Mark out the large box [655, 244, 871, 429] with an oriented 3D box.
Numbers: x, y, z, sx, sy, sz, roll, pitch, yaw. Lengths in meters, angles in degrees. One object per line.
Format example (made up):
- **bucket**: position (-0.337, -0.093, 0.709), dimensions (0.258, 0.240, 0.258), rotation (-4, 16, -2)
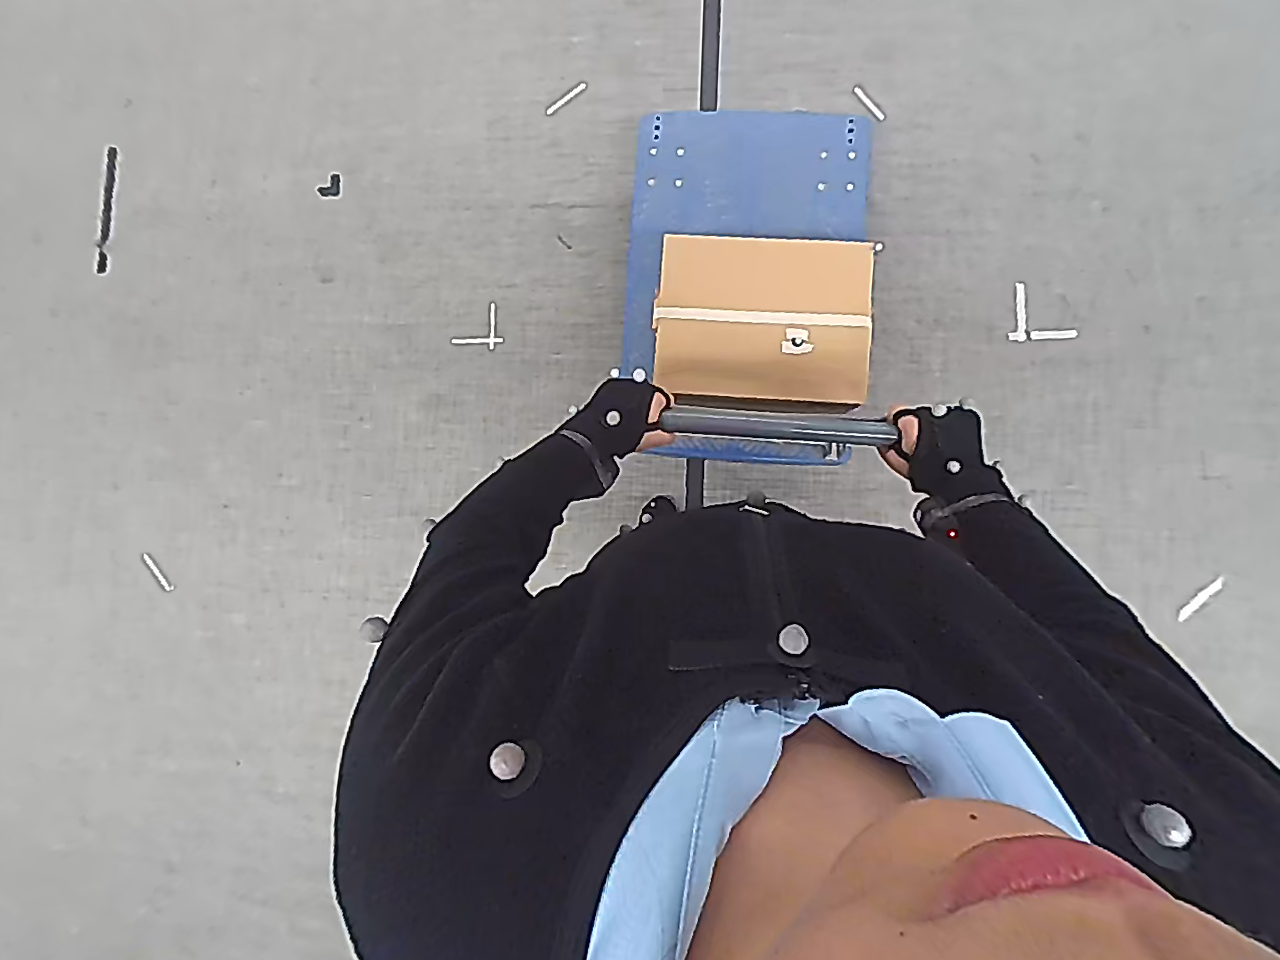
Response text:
- **large box**: position (0.242, -0.292, 1.187), dimensions (0.408, 0.320, 0.320), rotation (4, 89, 3)
